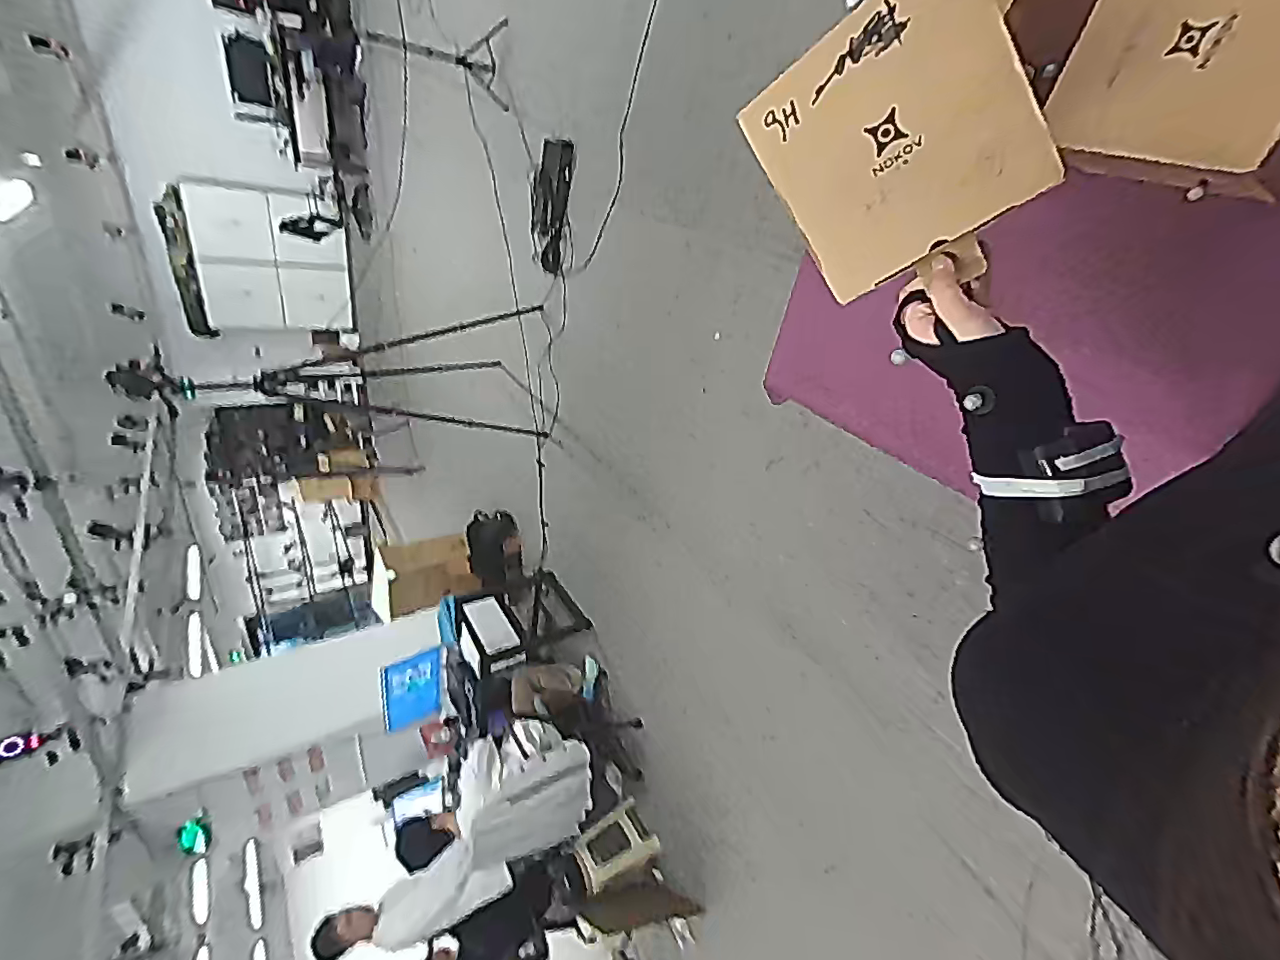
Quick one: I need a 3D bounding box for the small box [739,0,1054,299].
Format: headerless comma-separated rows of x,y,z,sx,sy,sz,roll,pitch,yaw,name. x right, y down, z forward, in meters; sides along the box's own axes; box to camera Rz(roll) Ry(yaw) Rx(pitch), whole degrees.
0.214,-0.291,0.460,0.168,0.176,0.179,-24,109,36,small box

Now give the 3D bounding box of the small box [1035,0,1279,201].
0.504,-0.359,0.478,0.179,0.176,0.168,46,133,40,small box
